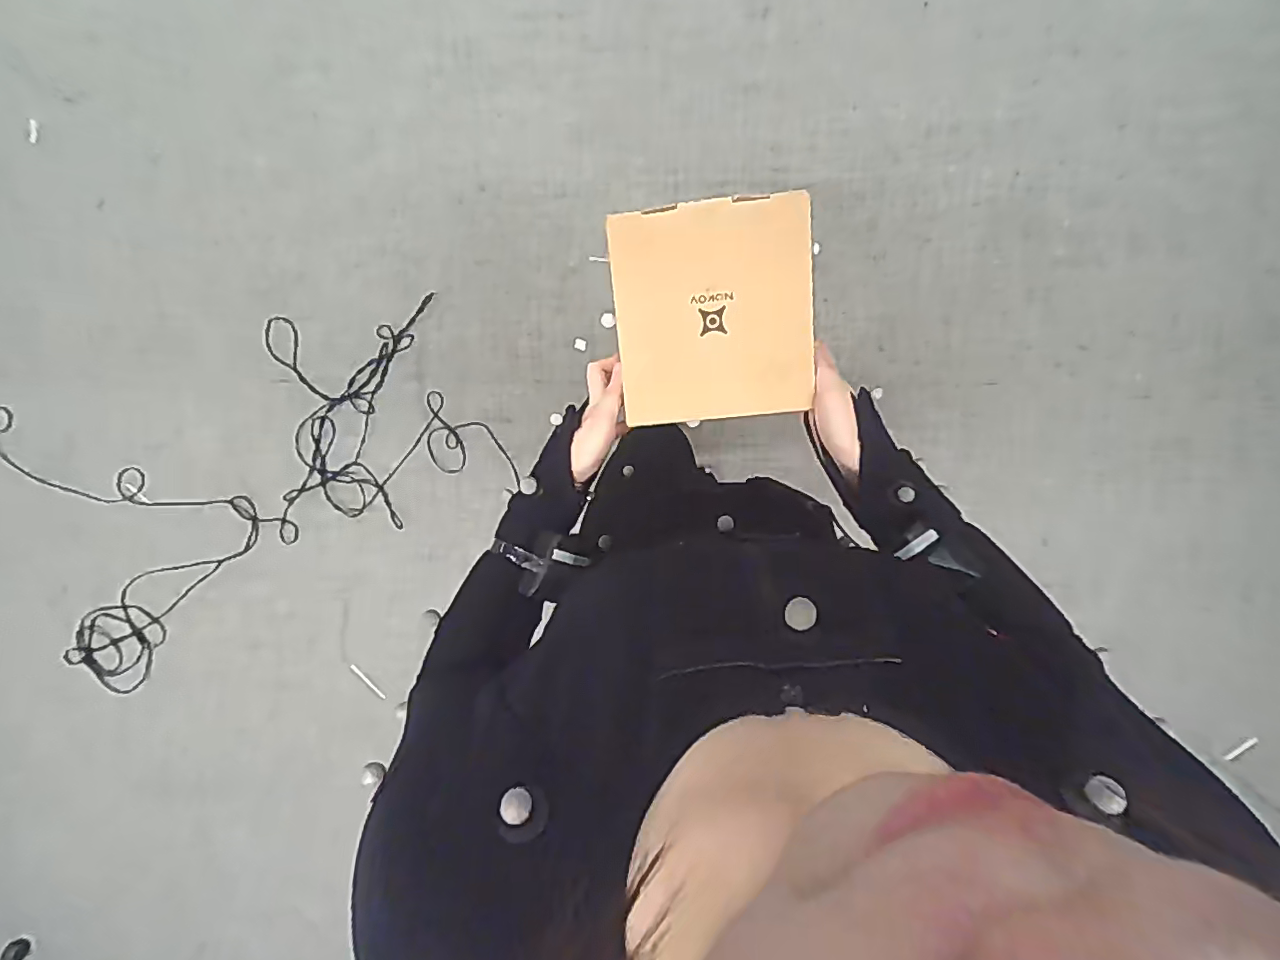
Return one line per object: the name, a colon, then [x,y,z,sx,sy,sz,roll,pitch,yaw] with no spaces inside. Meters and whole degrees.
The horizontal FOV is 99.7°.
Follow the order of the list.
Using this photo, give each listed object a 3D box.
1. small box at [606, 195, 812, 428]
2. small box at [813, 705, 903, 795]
small box: [0.067,-0.154,0.529,0.168,0.176,0.179,-5,102,5]
small box: [0.565,0.711,1.423,0.179,0.176,0.168,2,93,2]
